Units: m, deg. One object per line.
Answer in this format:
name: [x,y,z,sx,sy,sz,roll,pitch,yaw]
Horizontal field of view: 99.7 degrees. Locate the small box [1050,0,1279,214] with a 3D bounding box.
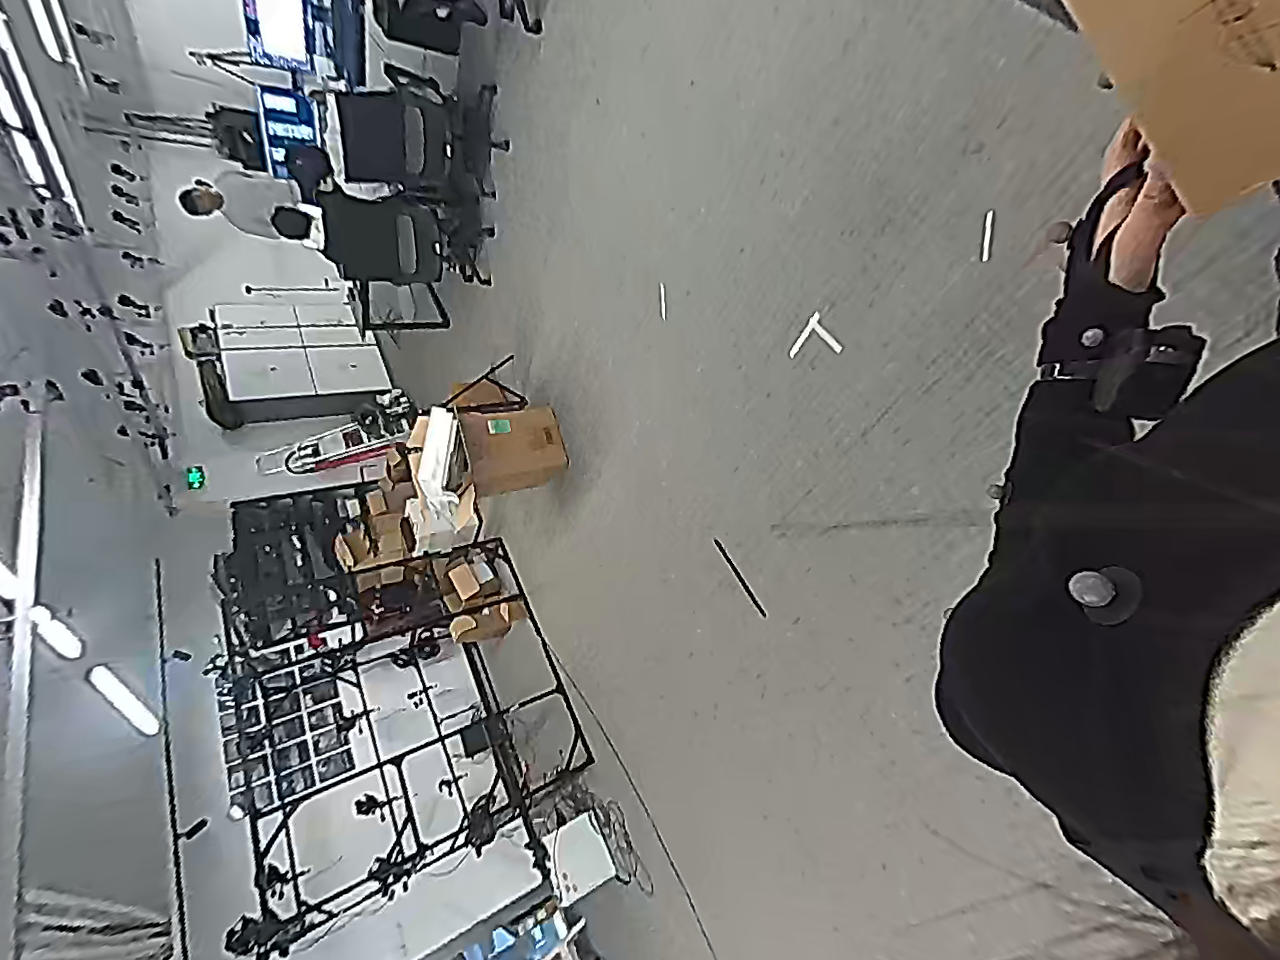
small box: [0.333,-0.266,0.255,0.168,0.176,0.179,58,145,-2]
